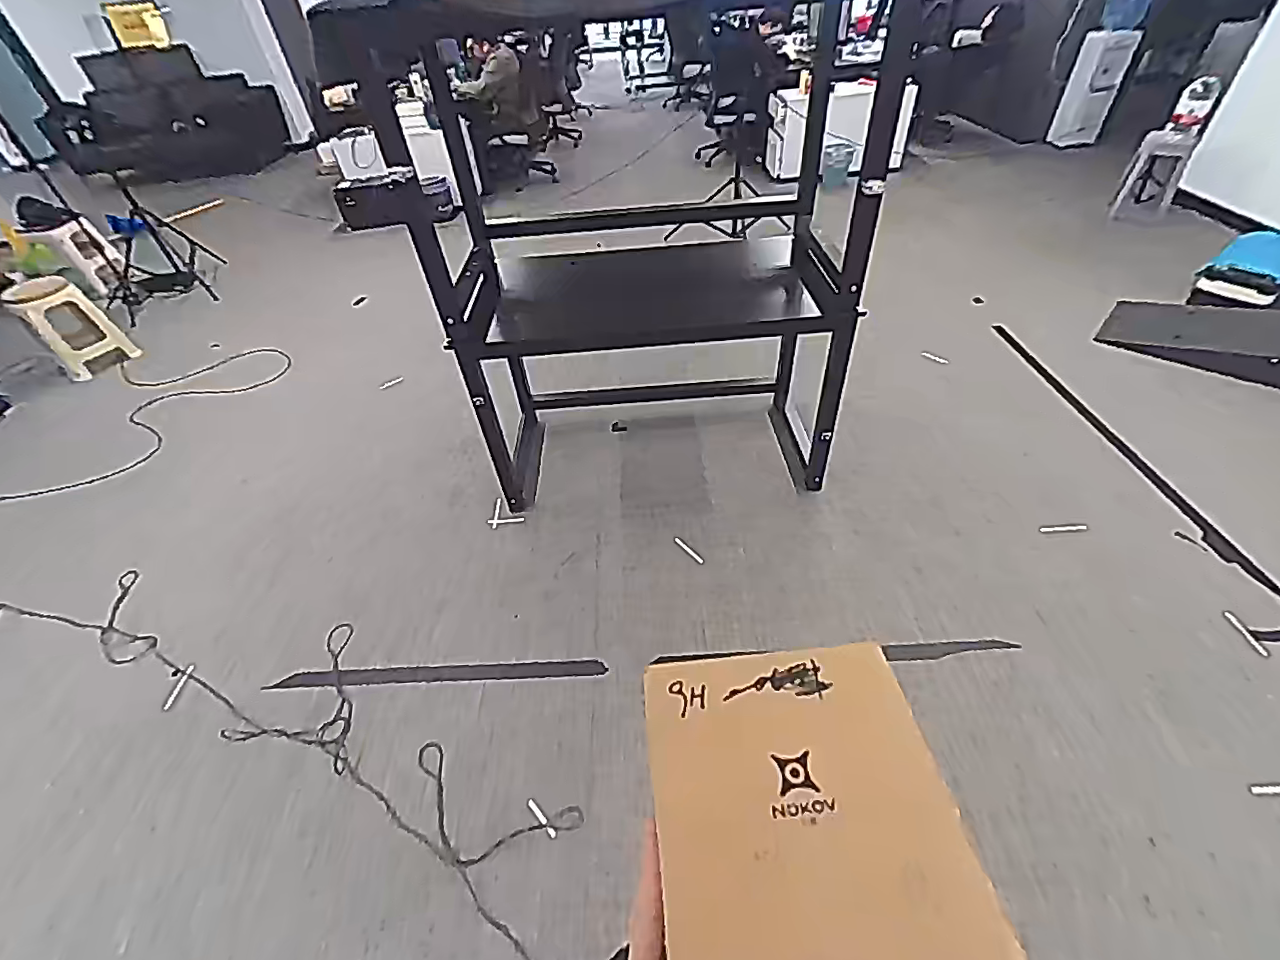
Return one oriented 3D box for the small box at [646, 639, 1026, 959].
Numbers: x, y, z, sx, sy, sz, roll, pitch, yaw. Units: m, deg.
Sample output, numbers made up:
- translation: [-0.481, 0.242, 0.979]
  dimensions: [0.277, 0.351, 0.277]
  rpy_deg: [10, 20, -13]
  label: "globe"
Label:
- translation: [0.095, 0.231, 0.355]
  dimensions: [0.168, 0.176, 0.179]
  rpy_deg: [-5, 42, -1]
  label: "small box"
